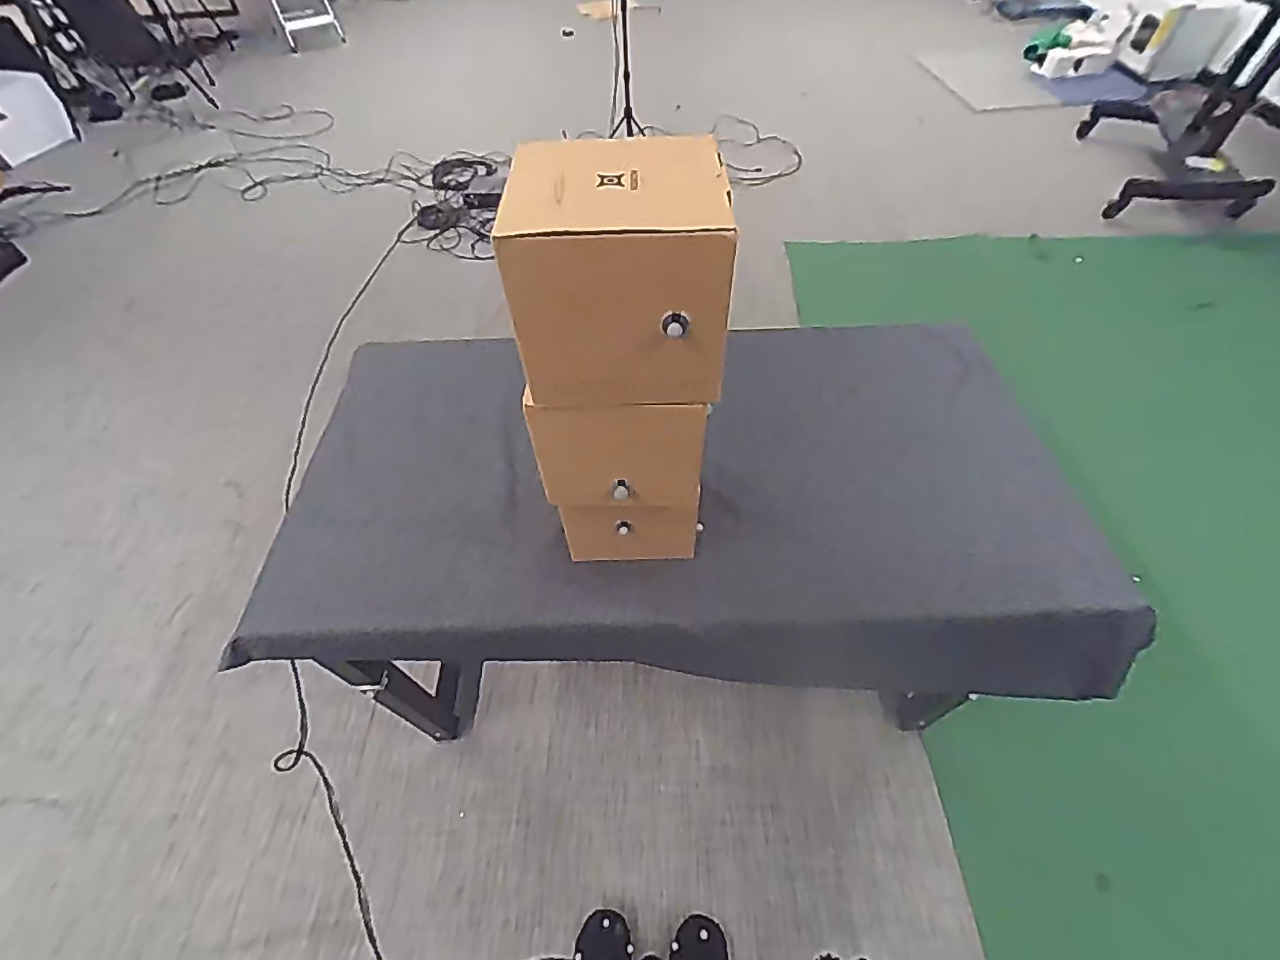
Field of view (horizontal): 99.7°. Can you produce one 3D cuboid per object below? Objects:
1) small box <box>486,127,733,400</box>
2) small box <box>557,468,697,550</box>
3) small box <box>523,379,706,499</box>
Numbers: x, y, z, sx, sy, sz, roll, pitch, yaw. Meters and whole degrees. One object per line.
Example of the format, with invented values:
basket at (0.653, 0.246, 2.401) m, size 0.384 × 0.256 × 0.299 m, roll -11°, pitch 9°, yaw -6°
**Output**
small box at (-0.020, -0.188, 0.488) m, size 0.179 × 0.176 × 0.168 m, roll -3°, pitch 52°, yaw 2°
small box at (-0.015, -0.012, 0.762) m, size 0.179 × 0.176 × 0.168 m, roll -2°, pitch 53°, yaw 2°
small box at (-0.023, -0.090, 0.621) m, size 0.179 × 0.176 × 0.168 m, roll -3°, pitch 55°, yaw 1°
